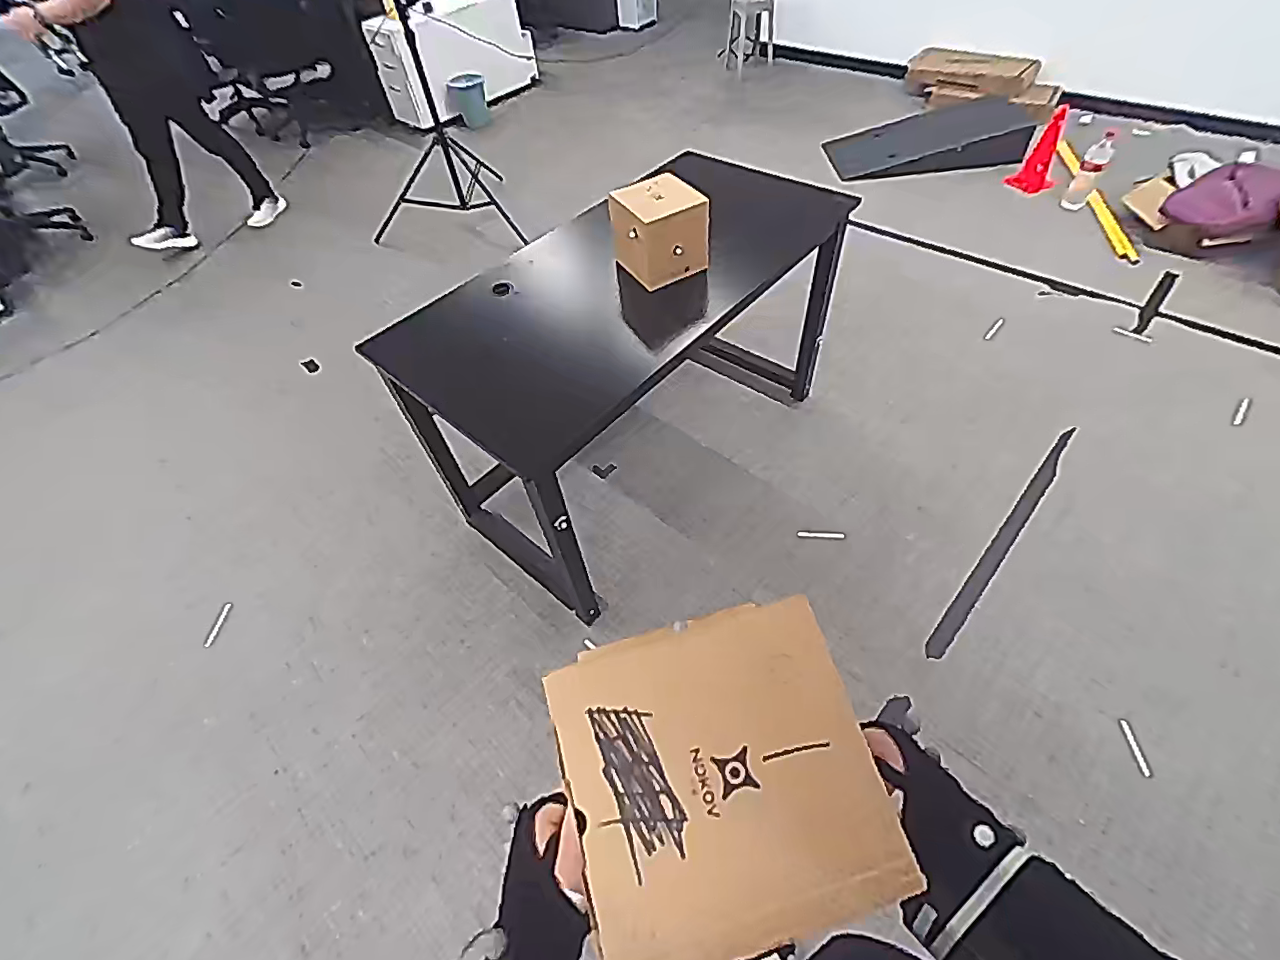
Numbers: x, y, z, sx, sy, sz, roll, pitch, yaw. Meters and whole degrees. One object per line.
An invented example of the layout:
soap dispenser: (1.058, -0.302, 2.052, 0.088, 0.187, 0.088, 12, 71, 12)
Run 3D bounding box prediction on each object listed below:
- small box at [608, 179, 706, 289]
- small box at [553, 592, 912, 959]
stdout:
small box: (0.043, -0.577, 1.287, 0.168, 0.176, 0.179, -27, 54, -15)
small box: (0.051, 0.198, 0.395, 0.179, 0.176, 0.168, -15, 68, -5)
